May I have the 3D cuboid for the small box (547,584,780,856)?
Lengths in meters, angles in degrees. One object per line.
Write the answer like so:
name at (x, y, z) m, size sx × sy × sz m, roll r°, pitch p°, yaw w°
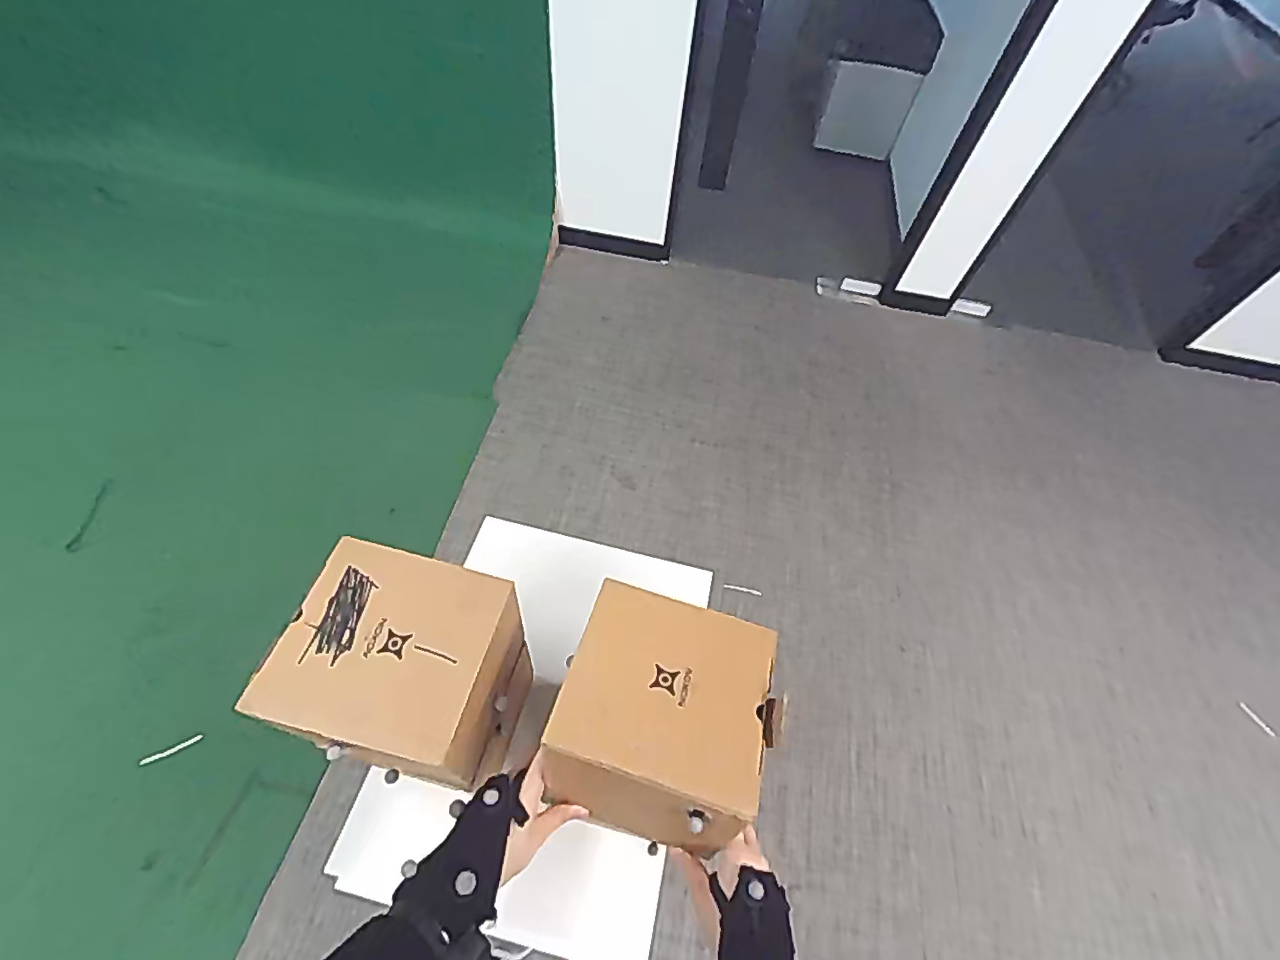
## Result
small box at (0.020, 0.234, 0.523) m, size 0.179 × 0.176 × 0.168 m, roll 16°, pitch 46°, yaw 5°

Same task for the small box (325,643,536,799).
small box at (-0.240, 0.283, 0.672) m, size 0.179 × 0.176 × 0.168 m, roll 15°, pitch 57°, yaw 2°

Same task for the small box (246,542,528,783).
small box at (-0.223, 0.188, 0.537) m, size 0.179 × 0.176 × 0.168 m, roll 15°, pitch 56°, yaw 2°
